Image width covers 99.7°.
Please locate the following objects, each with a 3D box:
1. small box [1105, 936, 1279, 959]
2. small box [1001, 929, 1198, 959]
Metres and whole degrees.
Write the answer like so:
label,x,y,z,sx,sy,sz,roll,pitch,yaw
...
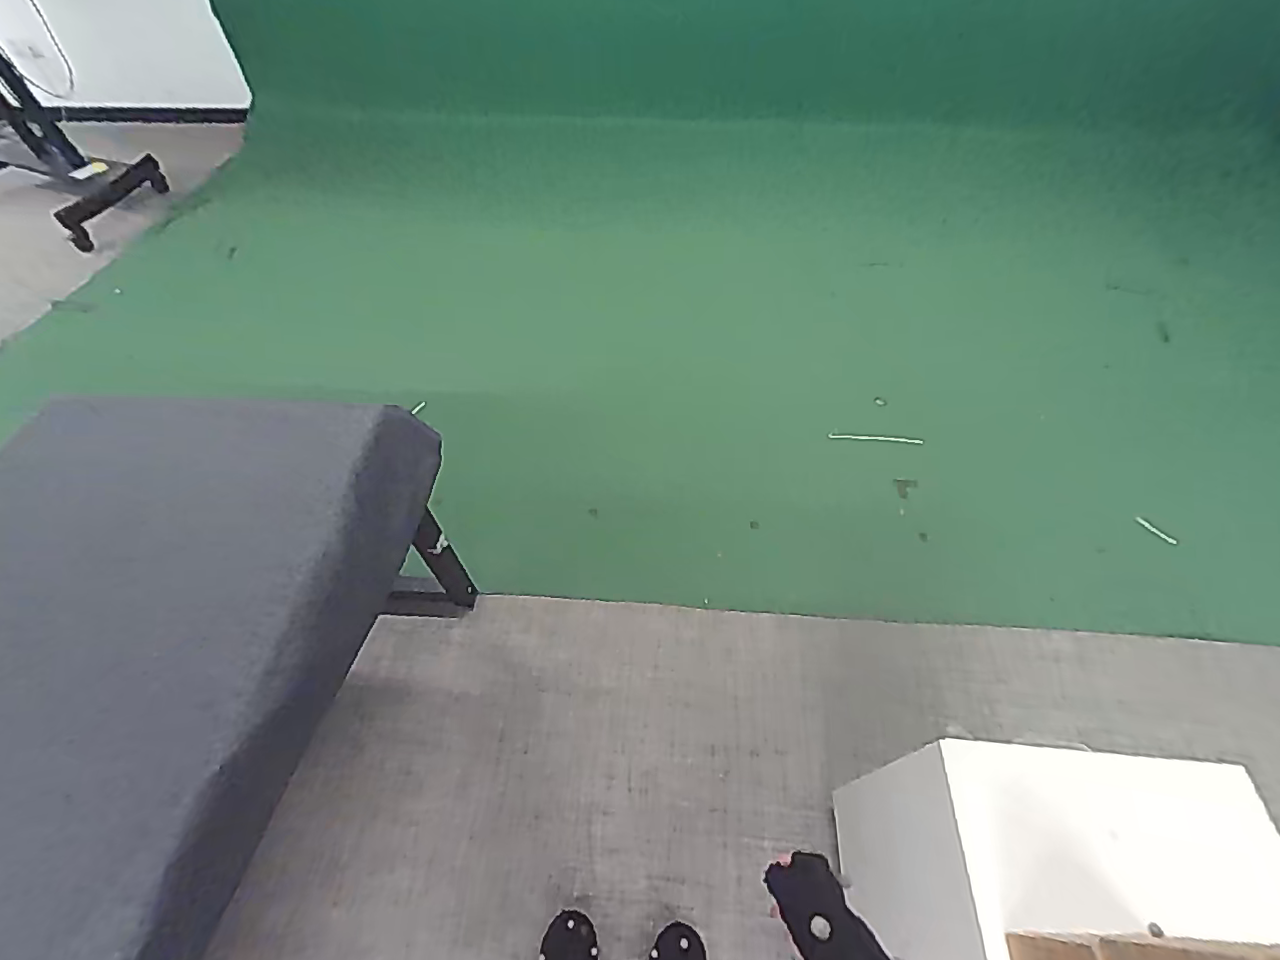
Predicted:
label,x,y,z,sx,sy,sz,roll,pitch,yaw
small box,0.497,0.435,0.379,0.179,0.176,0.168,-1,53,-1
small box,0.494,0.535,0.509,0.179,0.176,0.168,-1,53,2
